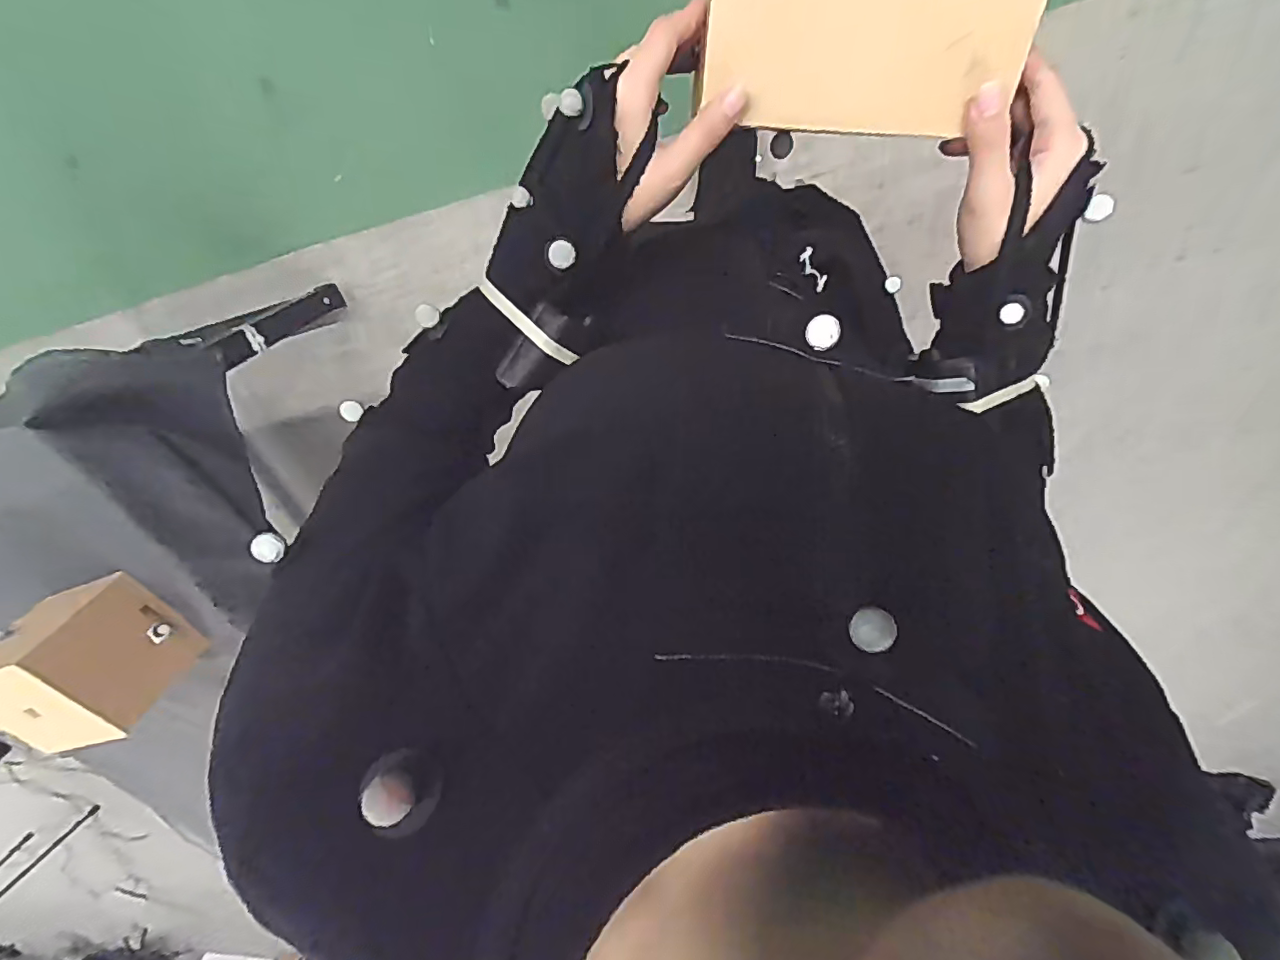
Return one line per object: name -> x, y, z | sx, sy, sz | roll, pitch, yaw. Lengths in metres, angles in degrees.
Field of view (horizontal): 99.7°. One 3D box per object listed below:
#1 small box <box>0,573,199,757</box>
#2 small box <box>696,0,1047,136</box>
small box -> -0.801, 0.261, 0.773 | 0.179, 0.176, 0.168 | -18, 123, 14
small box -> 0.123, -0.310, 0.314 | 0.168, 0.176, 0.179 | 3, 123, 1
